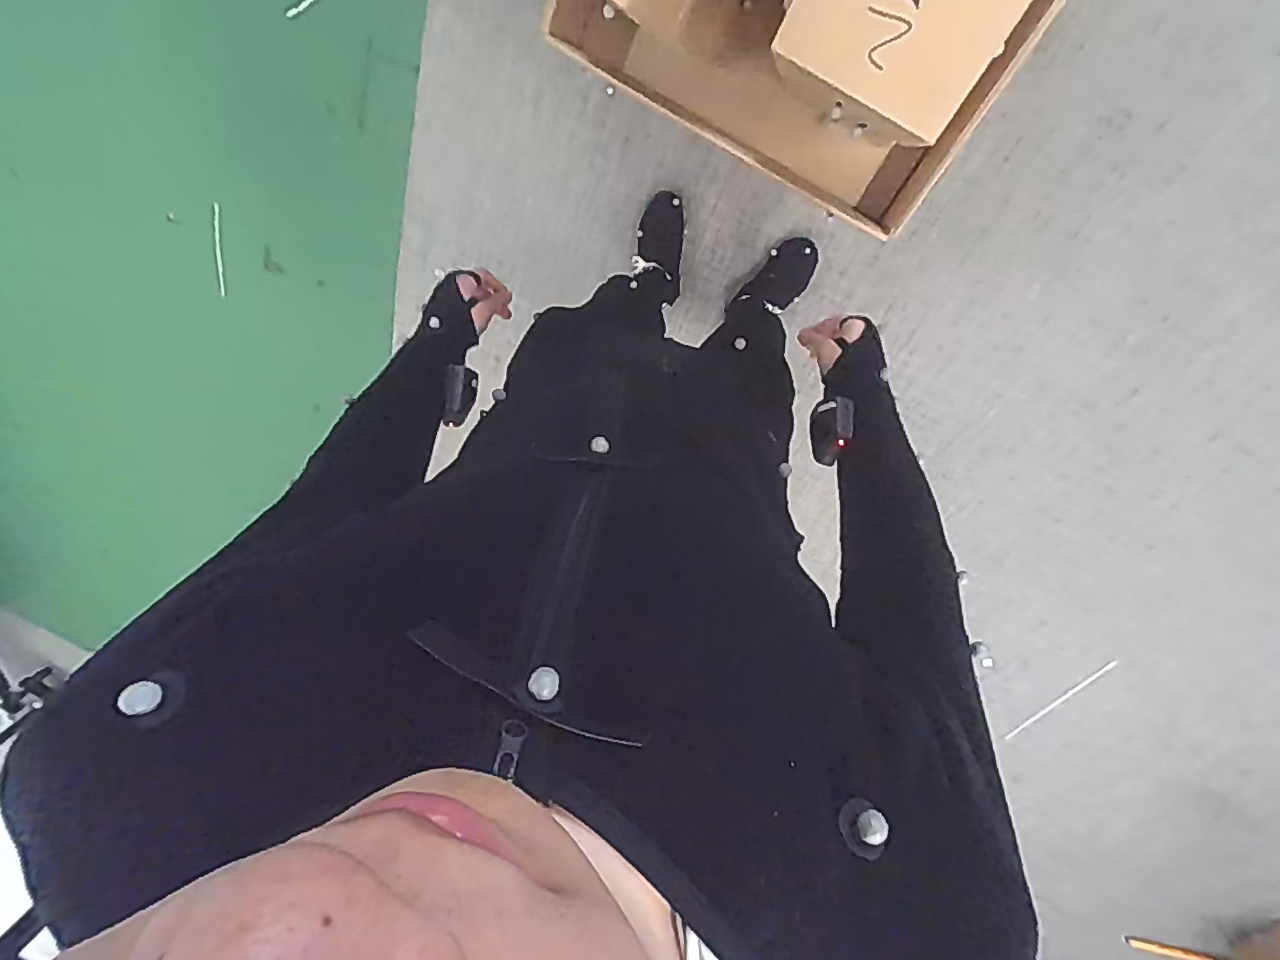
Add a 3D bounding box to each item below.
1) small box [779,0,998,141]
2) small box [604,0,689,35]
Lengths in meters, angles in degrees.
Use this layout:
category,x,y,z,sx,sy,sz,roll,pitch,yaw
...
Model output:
category,x,y,z,sx,sy,sz,roll,pitch,yaw
small box,0.280,-0.516,0.616,0.168,0.176,0.179,30,124,-2
small box,-0.019,-0.554,0.493,0.179,0.176,0.168,35,124,-5
